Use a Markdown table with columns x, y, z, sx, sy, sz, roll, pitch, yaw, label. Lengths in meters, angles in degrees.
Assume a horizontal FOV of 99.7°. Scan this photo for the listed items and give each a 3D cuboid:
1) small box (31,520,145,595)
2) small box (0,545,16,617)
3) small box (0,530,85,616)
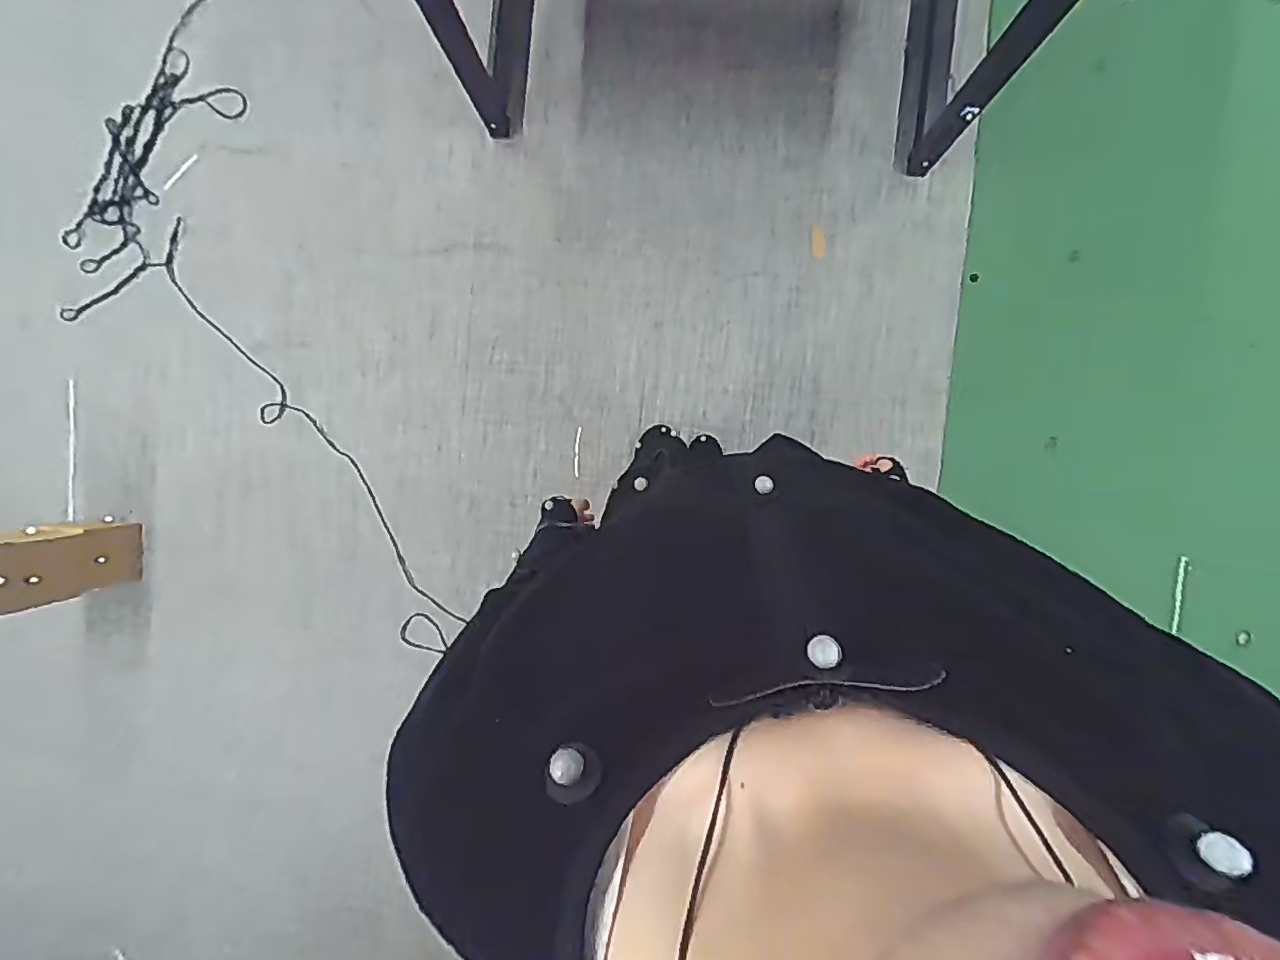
| x | y | z | sx | sy | sz | roll | pitch | yaw | label |
| --- | --- | --- | --- | --- | --- | --- | --- | --- | --- |
| -1.565 | 0.215 | 1.539 | 0.168 | 0.176 | 0.179 | 4 | 92 | 3 | small box |
| -1.571 | 0.234 | 1.212 | 0.168 | 0.176 | 0.179 | 2 | 92 | 3 | small box |
| -1.577 | 0.231 | 1.376 | 0.168 | 0.176 | 0.179 | 4 | 92 | 2 | small box |
